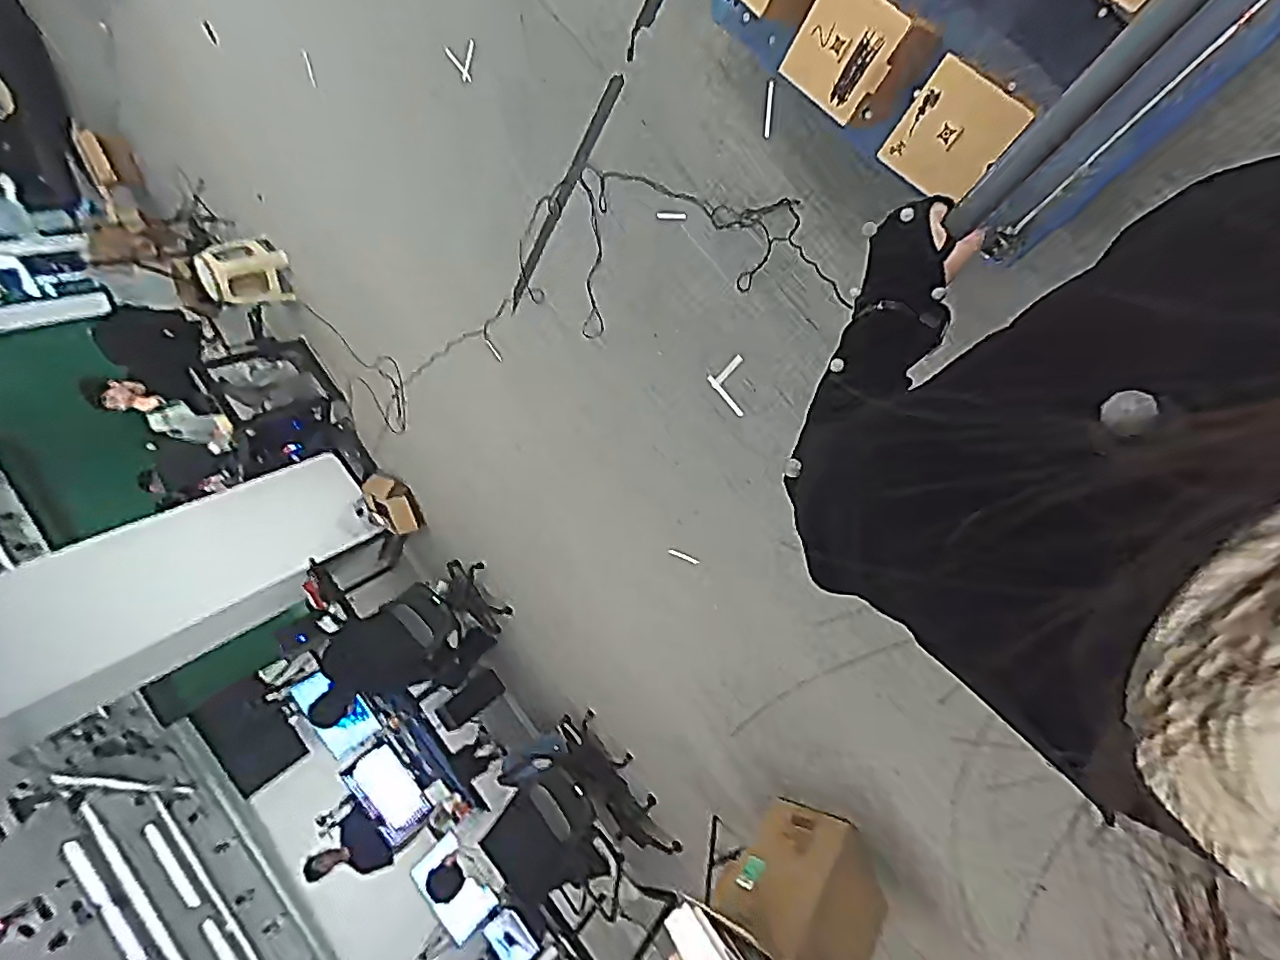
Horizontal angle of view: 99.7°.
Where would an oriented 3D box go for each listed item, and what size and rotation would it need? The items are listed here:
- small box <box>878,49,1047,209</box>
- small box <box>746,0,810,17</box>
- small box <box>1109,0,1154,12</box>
[{"bbox_3d":[0.560,-0.605,0.938,0.179,0.176,0.168,46,138,11],"label":"small box"},{"bbox_3d":[0.246,-0.990,0.986,0.179,0.176,0.168,49,139,7],"label":"small box"},{"bbox_3d":[0.681,-0.766,0.717,0.179,0.176,0.168,49,139,9],"label":"small box"}]
